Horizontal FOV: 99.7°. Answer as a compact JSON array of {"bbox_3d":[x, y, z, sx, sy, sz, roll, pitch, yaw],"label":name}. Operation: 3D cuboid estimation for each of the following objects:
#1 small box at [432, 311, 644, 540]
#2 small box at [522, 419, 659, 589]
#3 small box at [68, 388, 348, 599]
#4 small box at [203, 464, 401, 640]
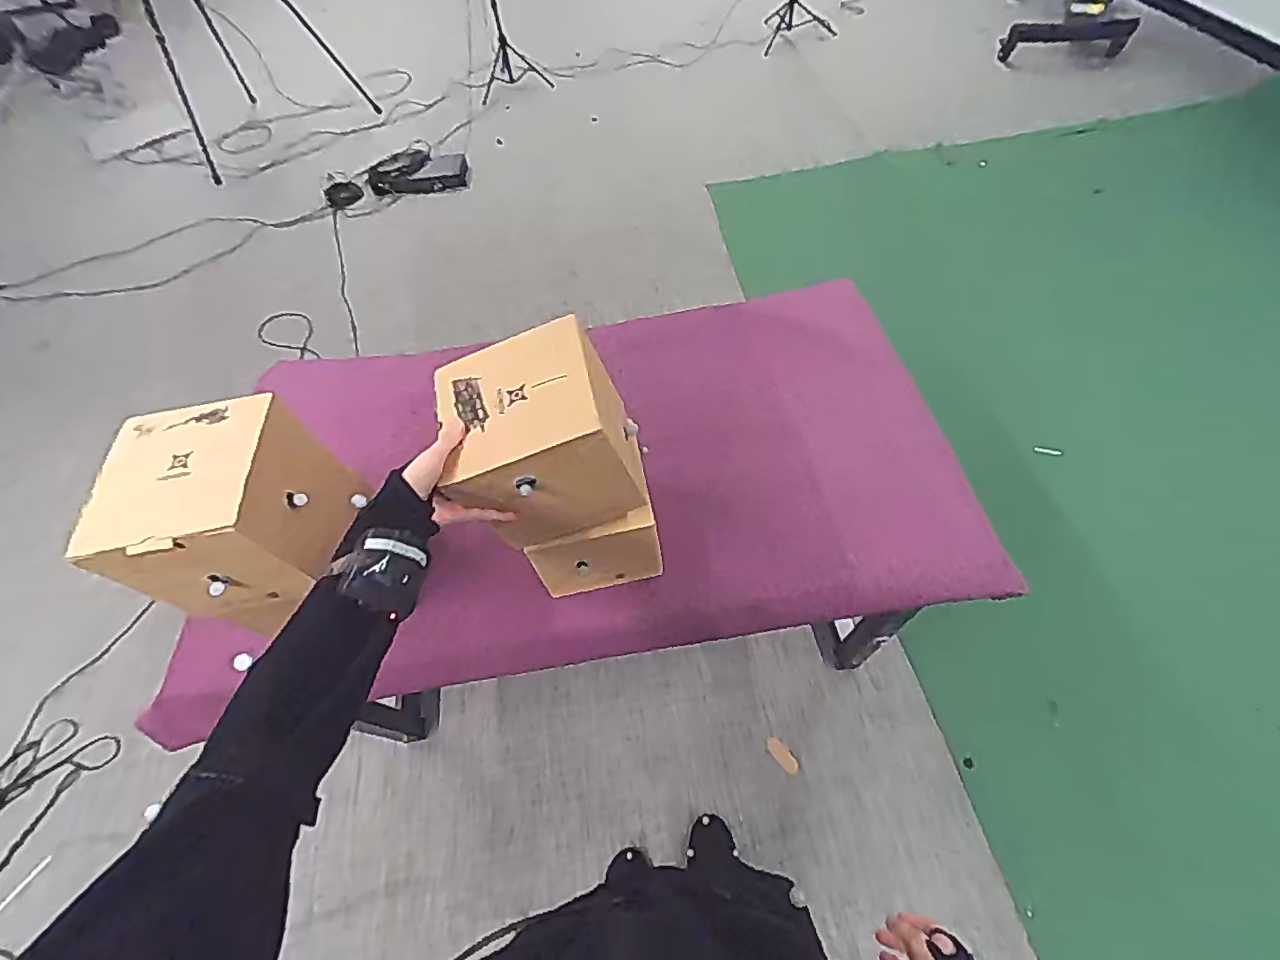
[{"bbox_3d":[-0.114,-0.052,0.623,0.179,0.176,0.168,-21,57,8],"label":"small box"},{"bbox_3d":[-0.071,0.042,0.771,0.168,0.176,0.179,-12,56,-2],"label":"small box"},{"bbox_3d":[-0.463,0.026,0.619,0.168,0.176,0.179,-10,58,-1],"label":"small box"},{"bbox_3d":[-0.454,0.105,0.763,0.168,0.176,0.179,-11,58,-2],"label":"small box"}]
